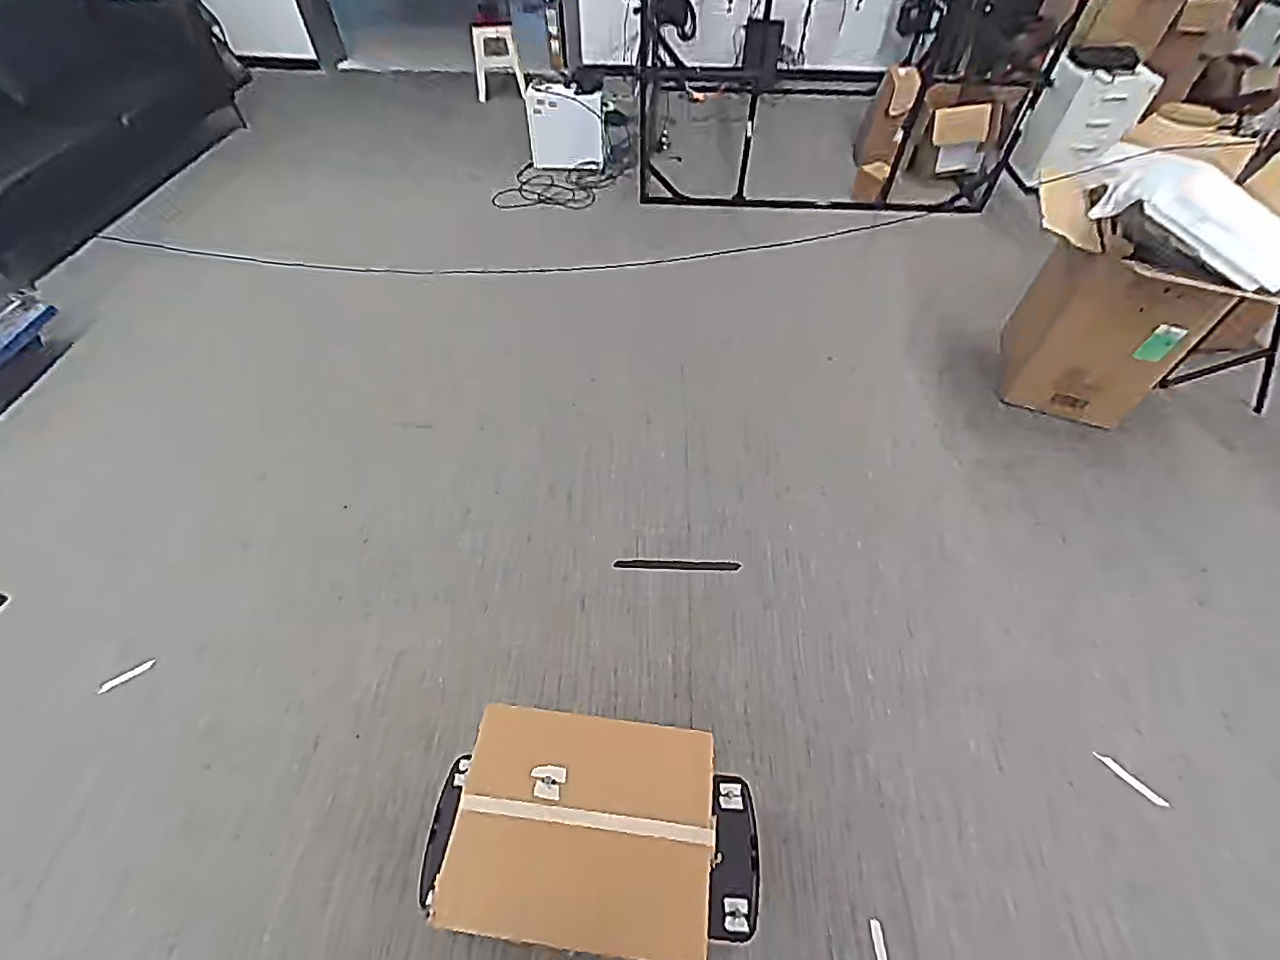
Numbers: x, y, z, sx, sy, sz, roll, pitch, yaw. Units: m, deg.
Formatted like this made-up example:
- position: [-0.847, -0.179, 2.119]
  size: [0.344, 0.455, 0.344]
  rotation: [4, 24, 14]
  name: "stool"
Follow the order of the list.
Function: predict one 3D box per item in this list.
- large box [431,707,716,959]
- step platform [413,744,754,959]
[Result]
- position: [-0.079, 0.624, 0.957]
  size: [0.408, 0.320, 0.320]
  rotation: [5, 51, 5]
  name: "large box"
- position: [-0.107, 0.775, 1.142]
  size: [0.684, 0.204, 0.286]
  rotation: [7, 51, 6]
  name: "step platform"
